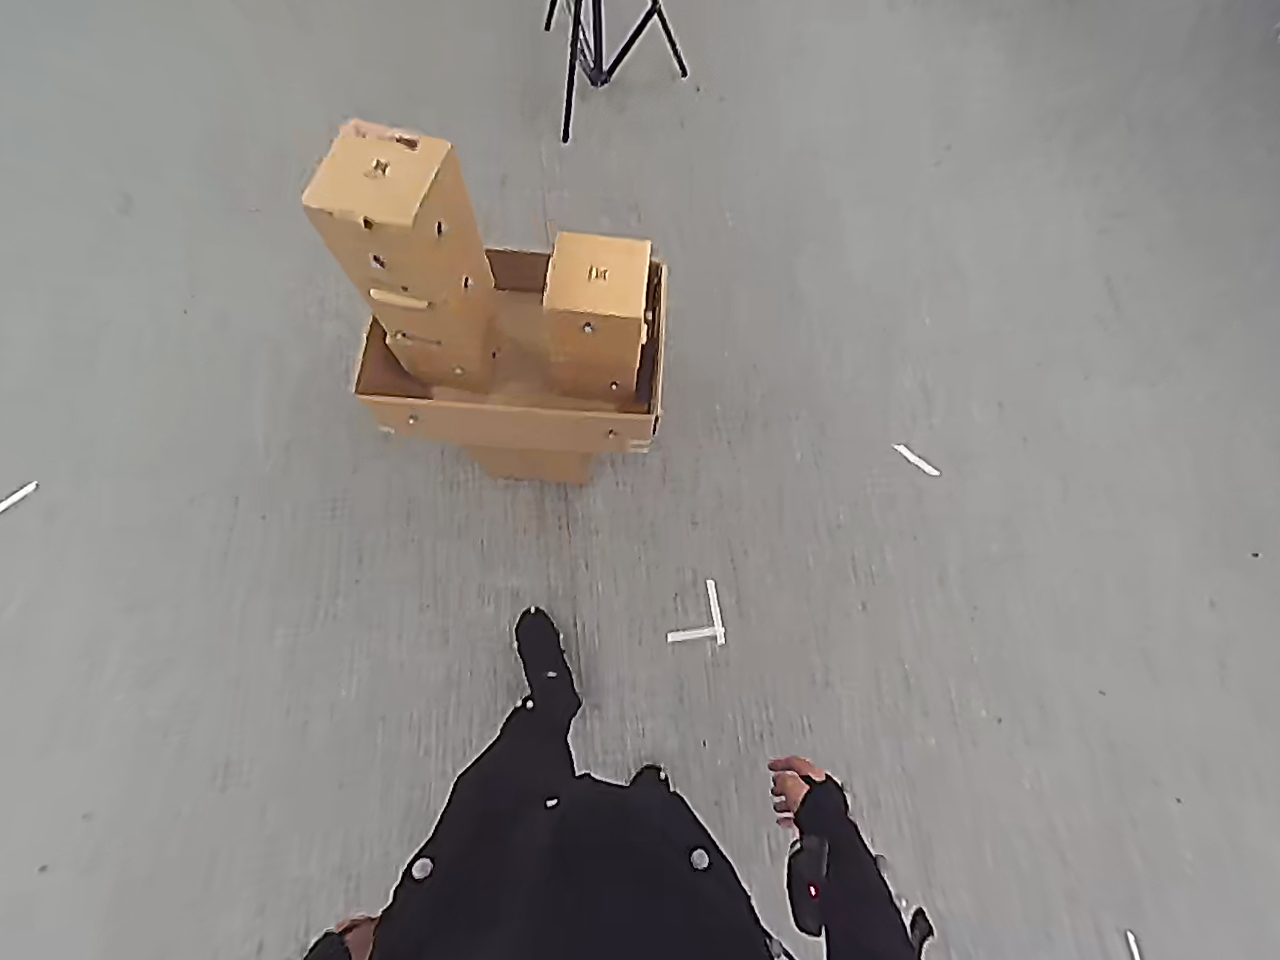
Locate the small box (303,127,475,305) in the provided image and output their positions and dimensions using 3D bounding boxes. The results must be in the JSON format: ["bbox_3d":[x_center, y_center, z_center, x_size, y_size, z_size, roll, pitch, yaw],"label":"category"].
[{"bbox_3d":[-0.382,-0.410,0.863,0.168,0.176,0.179,14,71,2],"label":"small box"}]

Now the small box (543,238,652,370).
[{"bbox_3d":[-0.076,-0.323,1.023,0.179,0.176,0.168,5,70,0],"label":"small box"}]

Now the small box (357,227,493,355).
[{"bbox_3d":[-0.390,-0.361,1.020,0.168,0.176,0.179,11,70,1],"label":"small box"}]
